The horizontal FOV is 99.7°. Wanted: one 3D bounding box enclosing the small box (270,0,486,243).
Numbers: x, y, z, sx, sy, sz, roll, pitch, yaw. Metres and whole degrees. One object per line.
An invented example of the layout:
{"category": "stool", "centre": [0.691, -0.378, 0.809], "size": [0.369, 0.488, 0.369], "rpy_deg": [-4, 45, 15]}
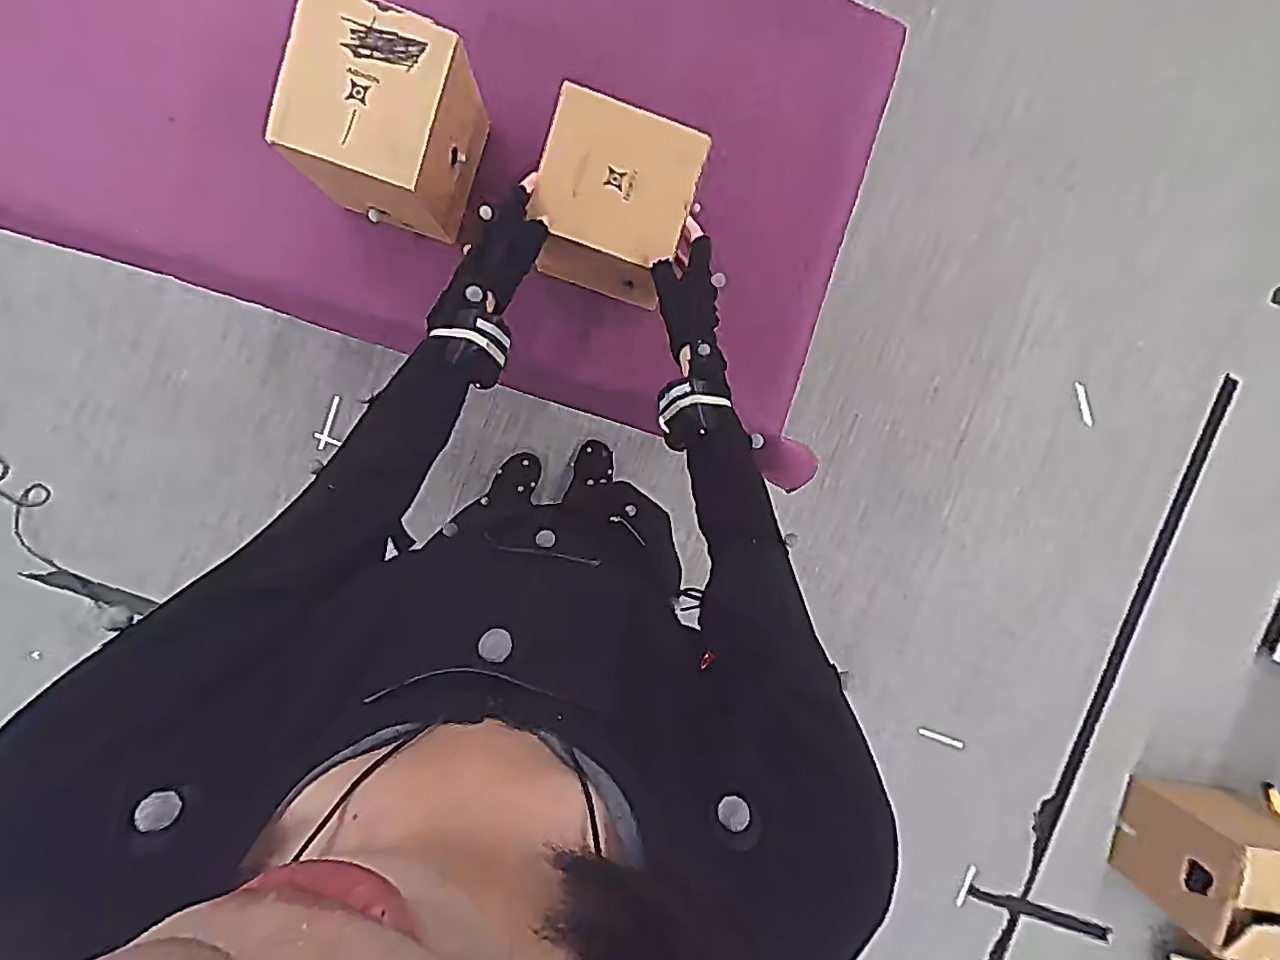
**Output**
{"category": "small box", "centre": [-0.300, -0.426, 0.662], "size": [0.168, 0.176, 0.179], "rpy_deg": [17, 93, -5]}

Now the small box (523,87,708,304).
{"category": "small box", "centre": [-0.032, -0.341, 0.689], "size": [0.179, 0.176, 0.168], "rpy_deg": [16, 91, -4]}
